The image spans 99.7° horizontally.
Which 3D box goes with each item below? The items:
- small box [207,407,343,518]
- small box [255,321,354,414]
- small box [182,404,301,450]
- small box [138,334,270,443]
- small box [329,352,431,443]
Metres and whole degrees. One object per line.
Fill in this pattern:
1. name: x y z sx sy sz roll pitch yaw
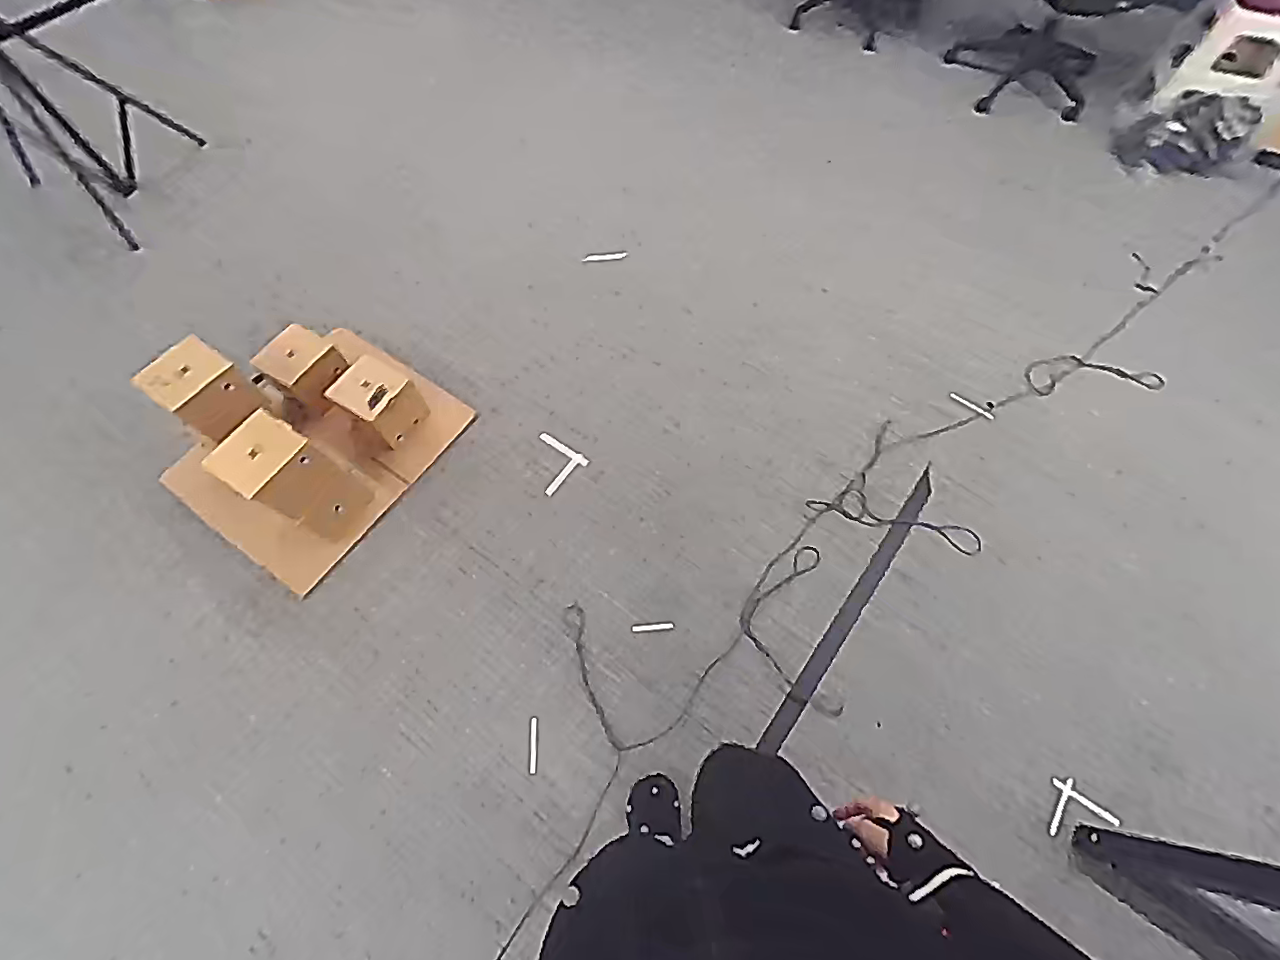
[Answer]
1. small box: -0.862 -0.035 1.298 0.168 0.176 0.179 30 69 12
2. small box: -0.980 -0.331 1.615 0.168 0.176 0.179 28 69 13
3. small box: -1.111 -0.144 1.525 0.168 0.176 0.179 29 69 11
4. small box: -1.096 -0.230 1.383 0.168 0.176 0.179 32 69 14
5. small box: -0.743 -0.229 1.569 0.179 0.176 0.168 29 69 12
